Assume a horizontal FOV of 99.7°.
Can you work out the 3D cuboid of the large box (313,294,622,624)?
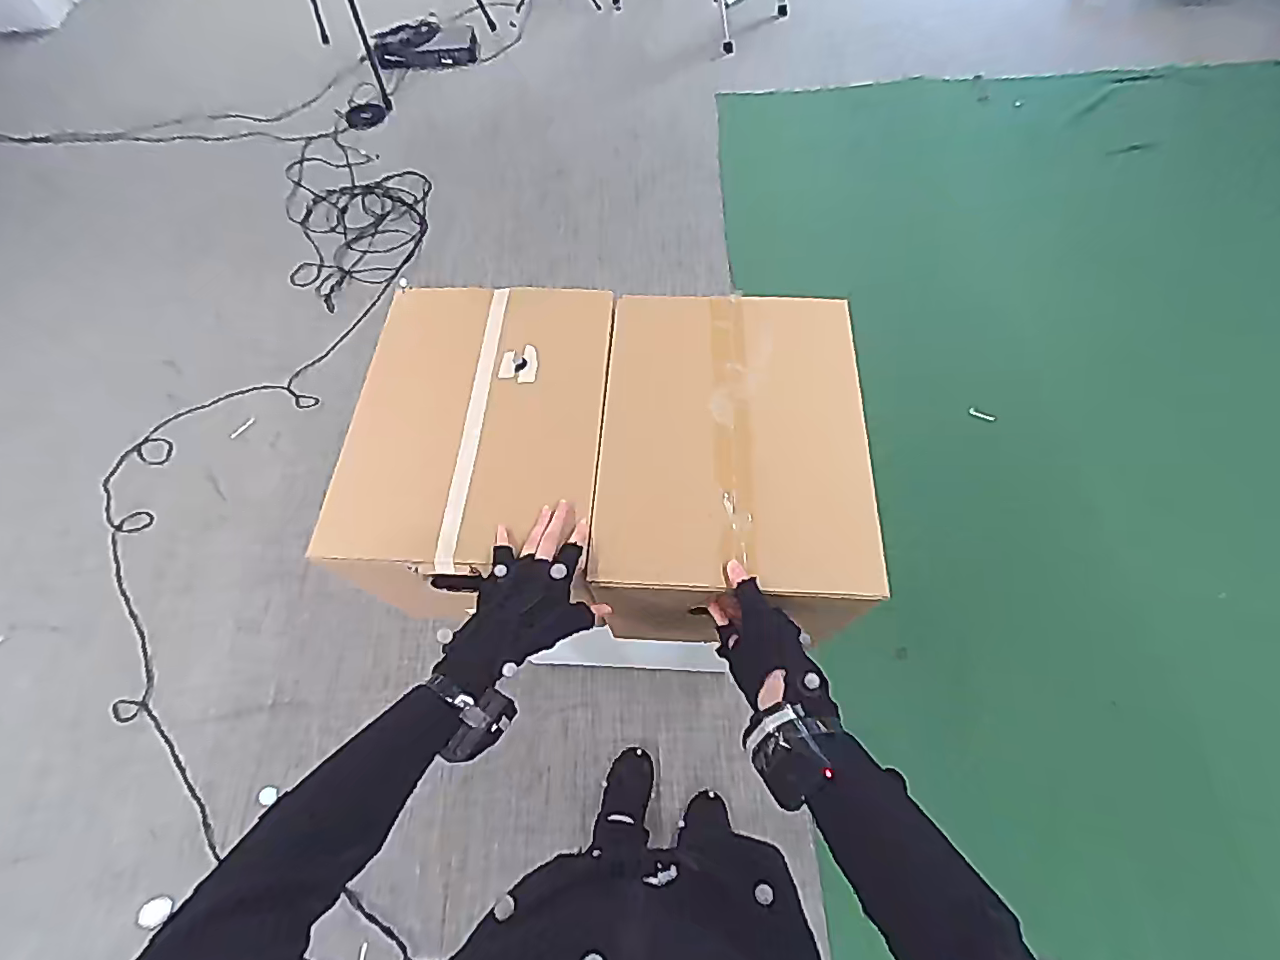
[{"bbox_3d":[-0.201,-0.018,0.815,0.320,0.320,0.408,2,62,3],"label":"large box"}]
